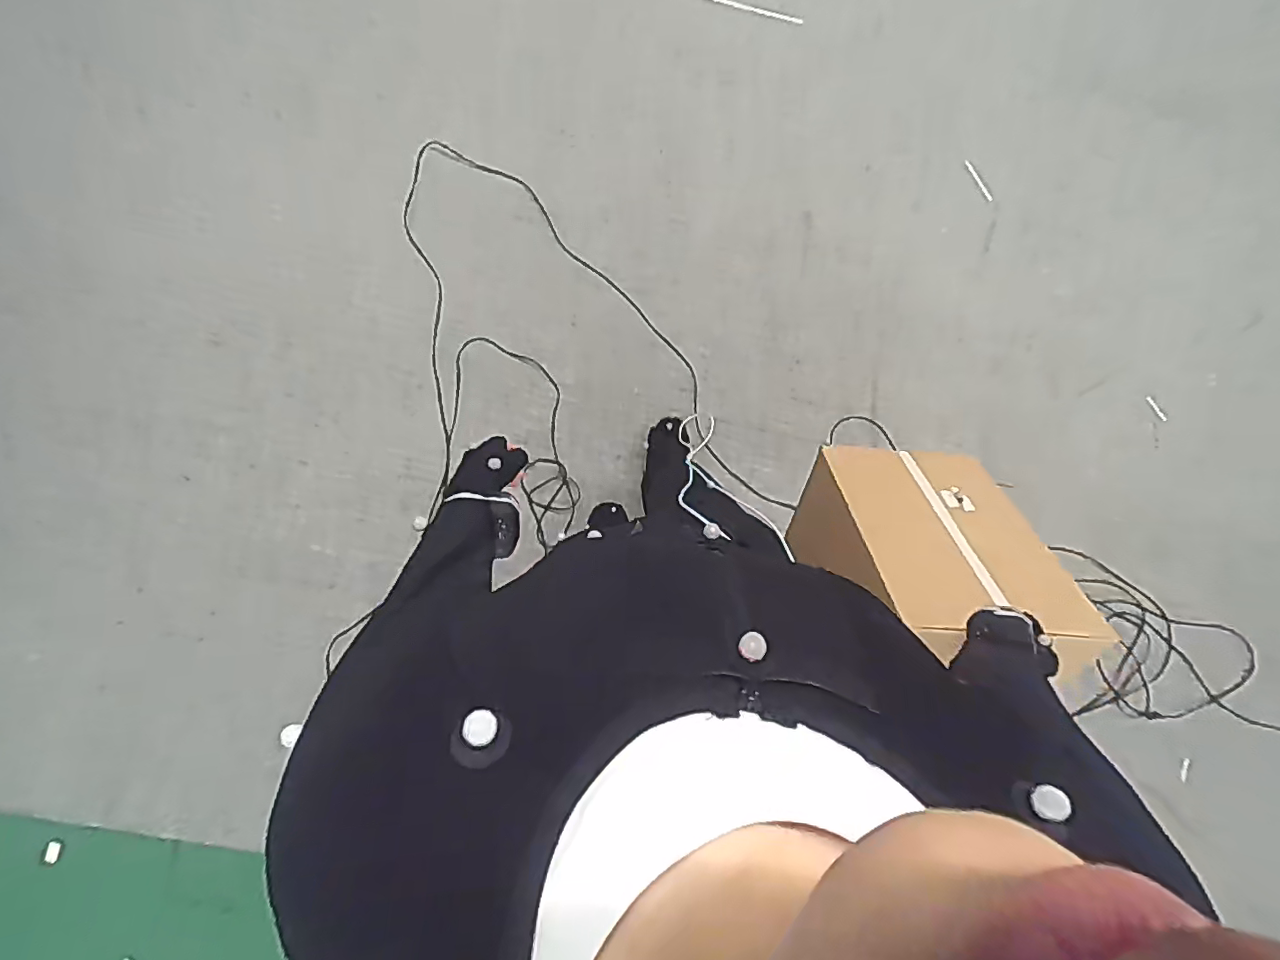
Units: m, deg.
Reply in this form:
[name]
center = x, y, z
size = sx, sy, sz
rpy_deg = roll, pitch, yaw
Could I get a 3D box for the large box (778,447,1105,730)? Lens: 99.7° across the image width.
[large box]
center = 0.477, 0.188, 0.981
size = 0.320, 0.408, 0.320
rpy_deg = 5, 129, -6
